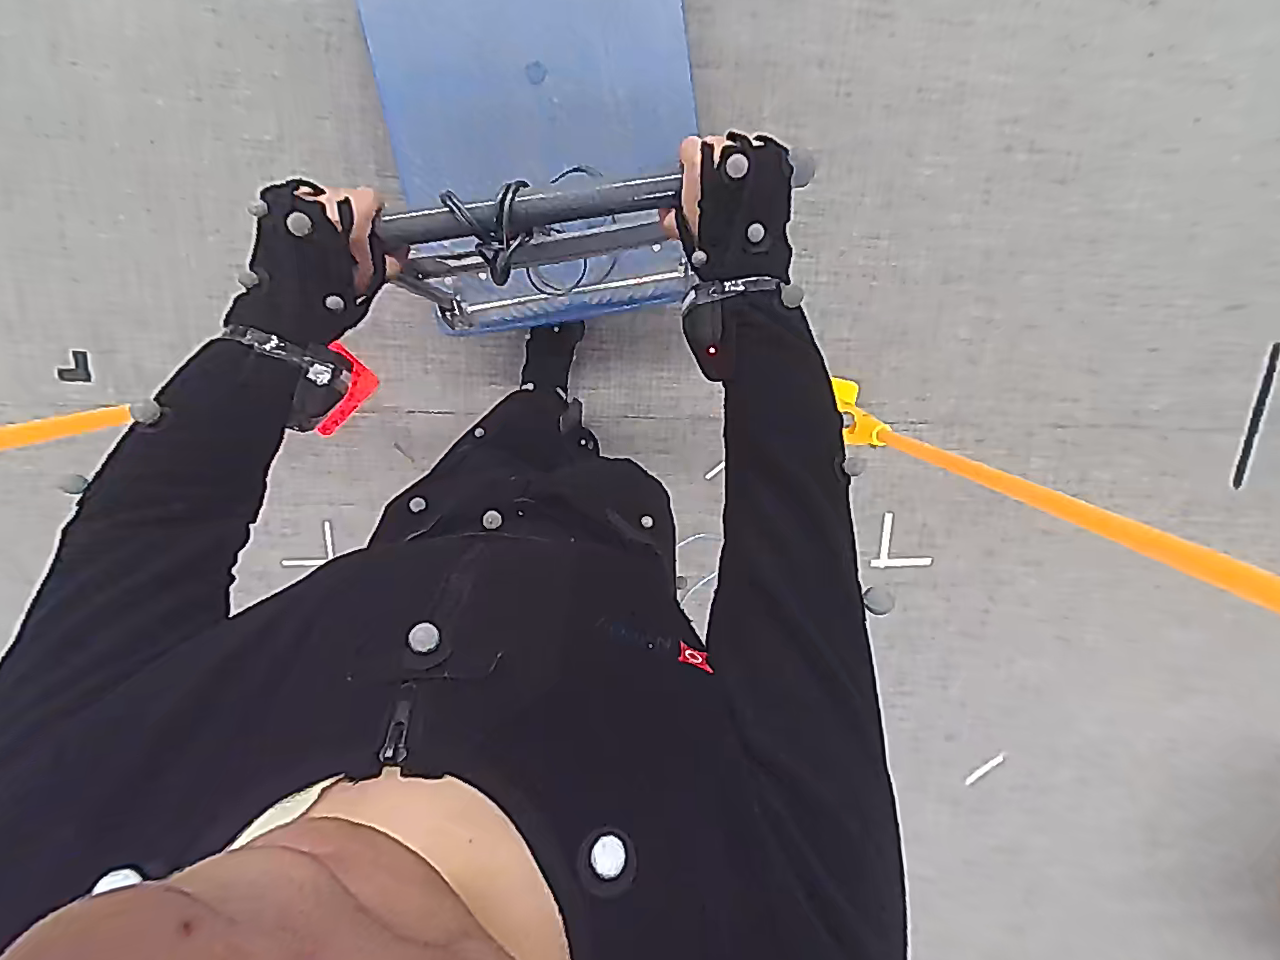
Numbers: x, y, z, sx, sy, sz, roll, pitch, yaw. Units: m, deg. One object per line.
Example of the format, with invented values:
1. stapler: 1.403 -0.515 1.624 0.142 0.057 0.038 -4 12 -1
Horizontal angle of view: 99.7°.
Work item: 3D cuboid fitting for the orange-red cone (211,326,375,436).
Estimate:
1. orange-red cone: -0.729 -0.186 1.088 0.199 0.360 0.198 -42 104 5
